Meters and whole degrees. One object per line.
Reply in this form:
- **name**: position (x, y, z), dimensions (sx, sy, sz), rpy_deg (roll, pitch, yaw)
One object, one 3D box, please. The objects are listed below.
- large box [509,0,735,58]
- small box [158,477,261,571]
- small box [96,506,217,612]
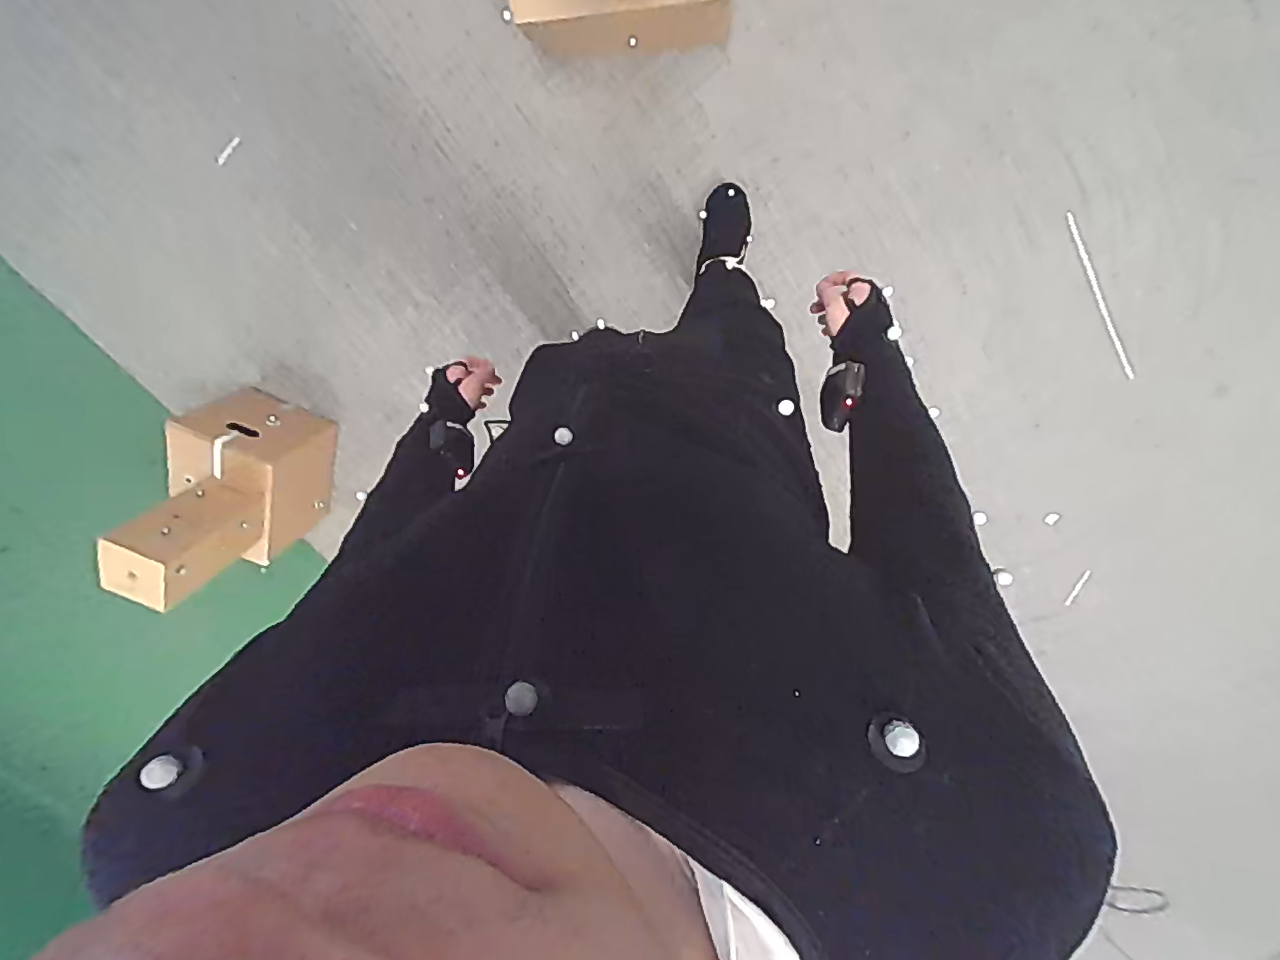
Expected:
- **large box**: position (-0.027, -1.034, 1.016), dimensions (0.408, 0.320, 0.320), rpy_deg (0, 117, 9)
- **small box**: position (-1.211, 0.118, 1.531), dimensions (0.168, 0.176, 0.179), rpy_deg (23, 120, -5)
- **small box**: position (-1.231, 0.197, 1.388), dimensions (0.168, 0.176, 0.179), rpy_deg (26, 119, -5)
